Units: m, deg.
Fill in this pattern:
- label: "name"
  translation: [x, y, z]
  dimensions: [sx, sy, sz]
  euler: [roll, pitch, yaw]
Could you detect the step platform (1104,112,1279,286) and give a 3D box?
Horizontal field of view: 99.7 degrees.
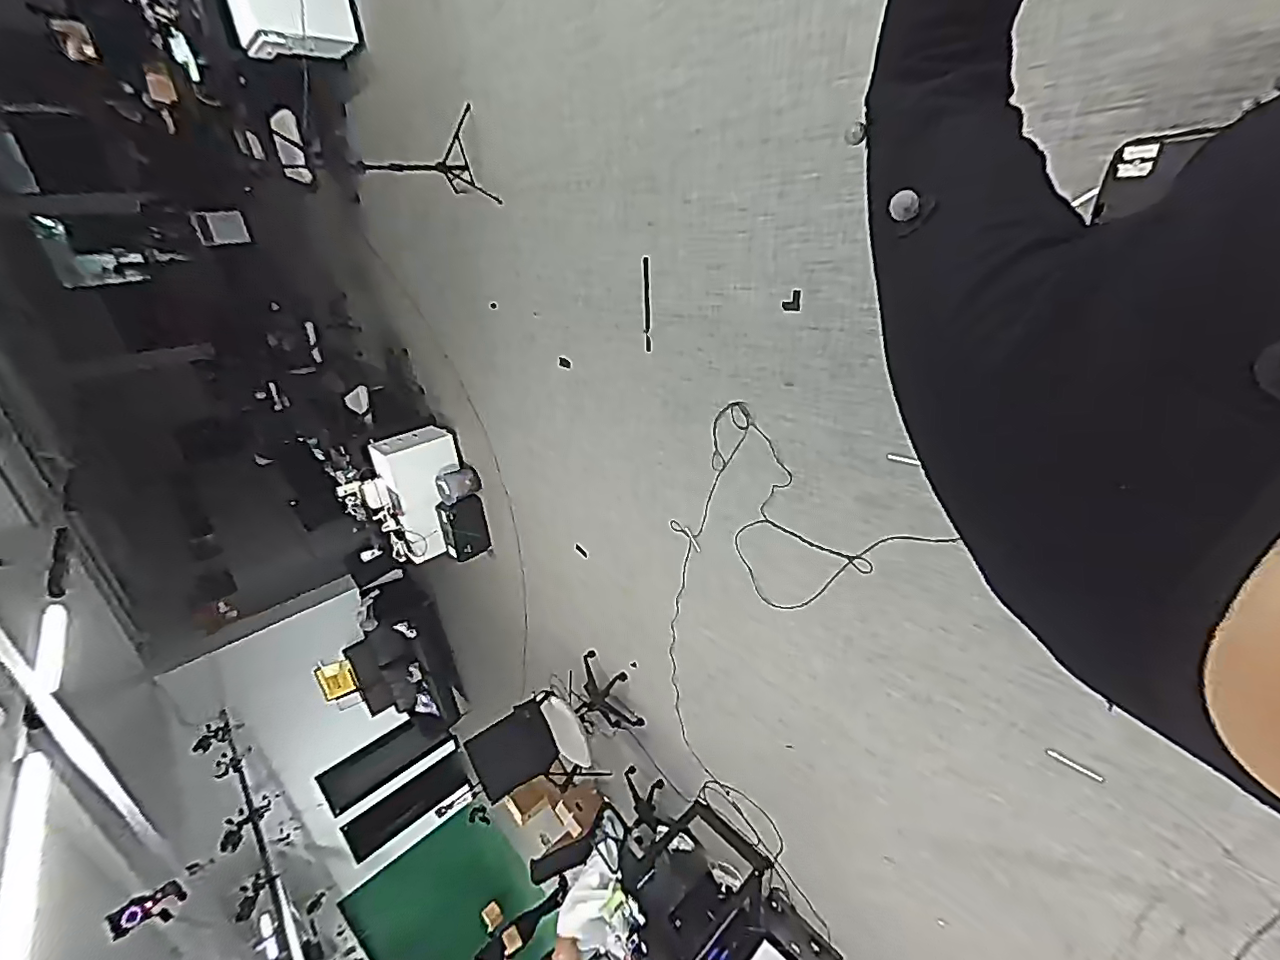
- label: "step platform"
  translation: [1.229, -0.481, 0.903]
  dimensions: [0.684, 0.204, 0.286]
  euler: [20, 125, 43]
